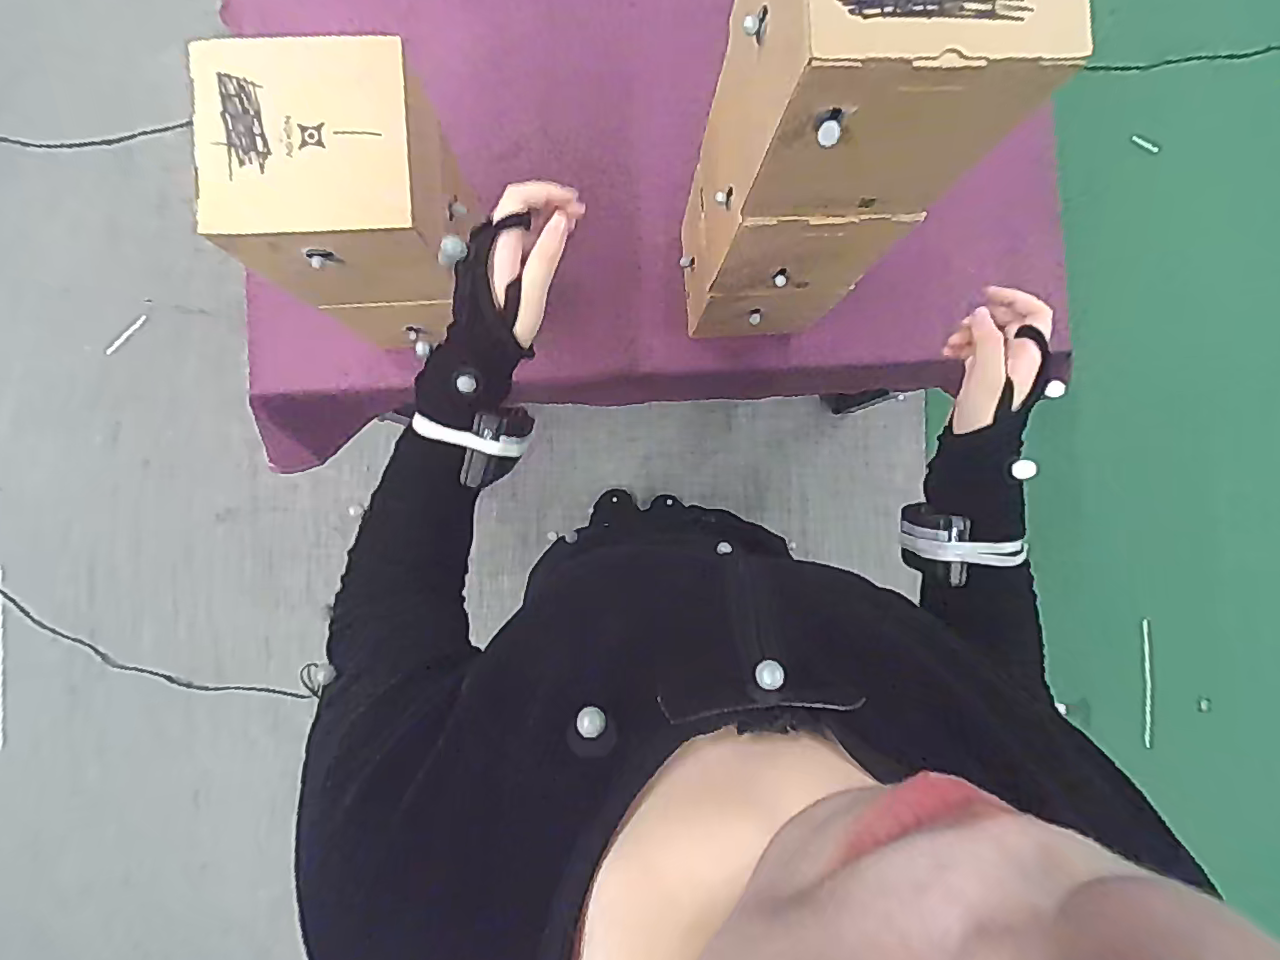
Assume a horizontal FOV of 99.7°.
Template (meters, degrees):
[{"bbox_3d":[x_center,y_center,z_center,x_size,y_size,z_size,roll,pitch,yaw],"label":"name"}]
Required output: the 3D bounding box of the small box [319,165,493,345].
[{"bbox_3d":[-0.291,-0.278,0.697,0.168,0.176,0.179,-3,88,-4],"label":"small box"}]

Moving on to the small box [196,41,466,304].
[{"bbox_3d":[-0.285,-0.283,0.532,0.179,0.176,0.168,-3,88,-3],"label":"small box"}]

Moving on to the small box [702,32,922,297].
[{"bbox_3d":[0.159,-0.305,0.554,0.168,0.176,0.179,-3,89,-3],"label":"small box"}]

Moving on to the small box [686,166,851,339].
[{"bbox_3d":[0.156,-0.292,0.717,0.179,0.176,0.168,-4,88,-2],"label":"small box"}]
